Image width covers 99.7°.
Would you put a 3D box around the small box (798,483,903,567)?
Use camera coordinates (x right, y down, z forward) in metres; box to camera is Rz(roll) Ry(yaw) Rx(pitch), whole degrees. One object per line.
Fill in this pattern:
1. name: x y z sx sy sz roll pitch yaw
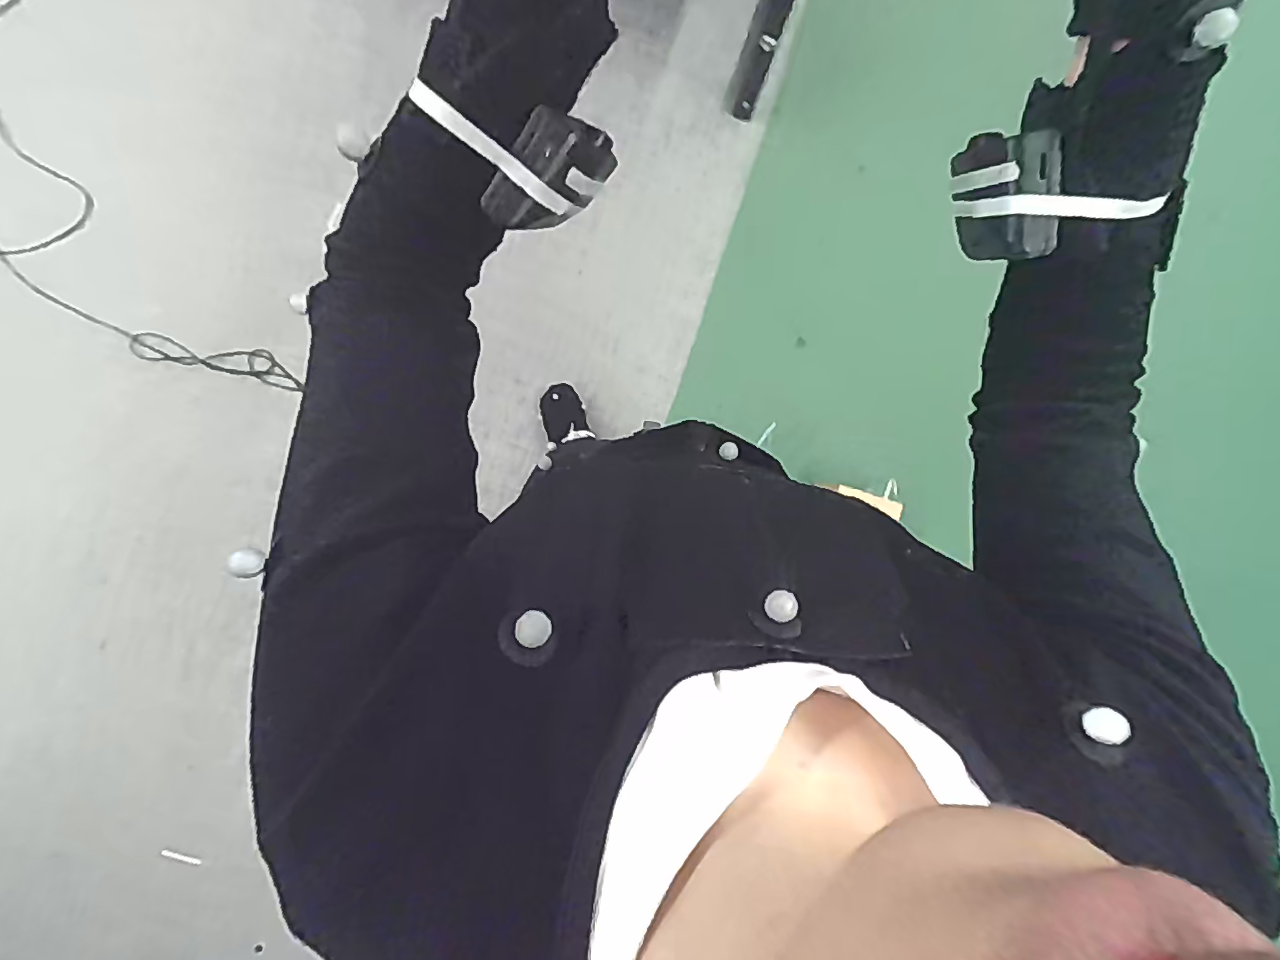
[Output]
1. small box: 0.544 0.110 1.421 0.179 0.176 0.168 18 92 -3
